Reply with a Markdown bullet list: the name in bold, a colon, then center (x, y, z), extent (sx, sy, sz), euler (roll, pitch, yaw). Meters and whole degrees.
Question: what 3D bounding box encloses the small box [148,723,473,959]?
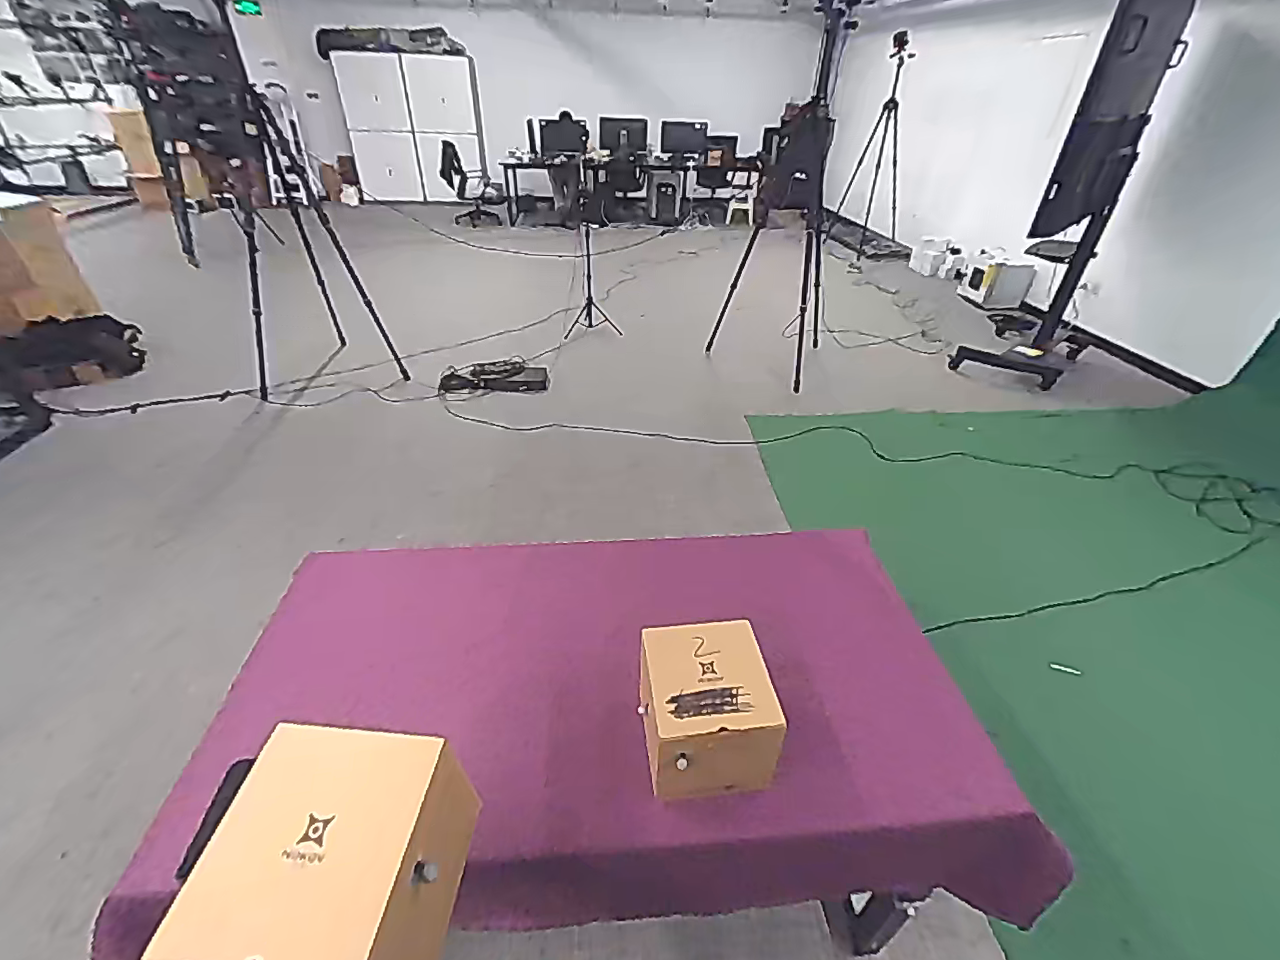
- **small box**: center (-0.266, 0.353, 0.495), extent (0.168, 0.176, 0.179), euler (4, 43, 4)
